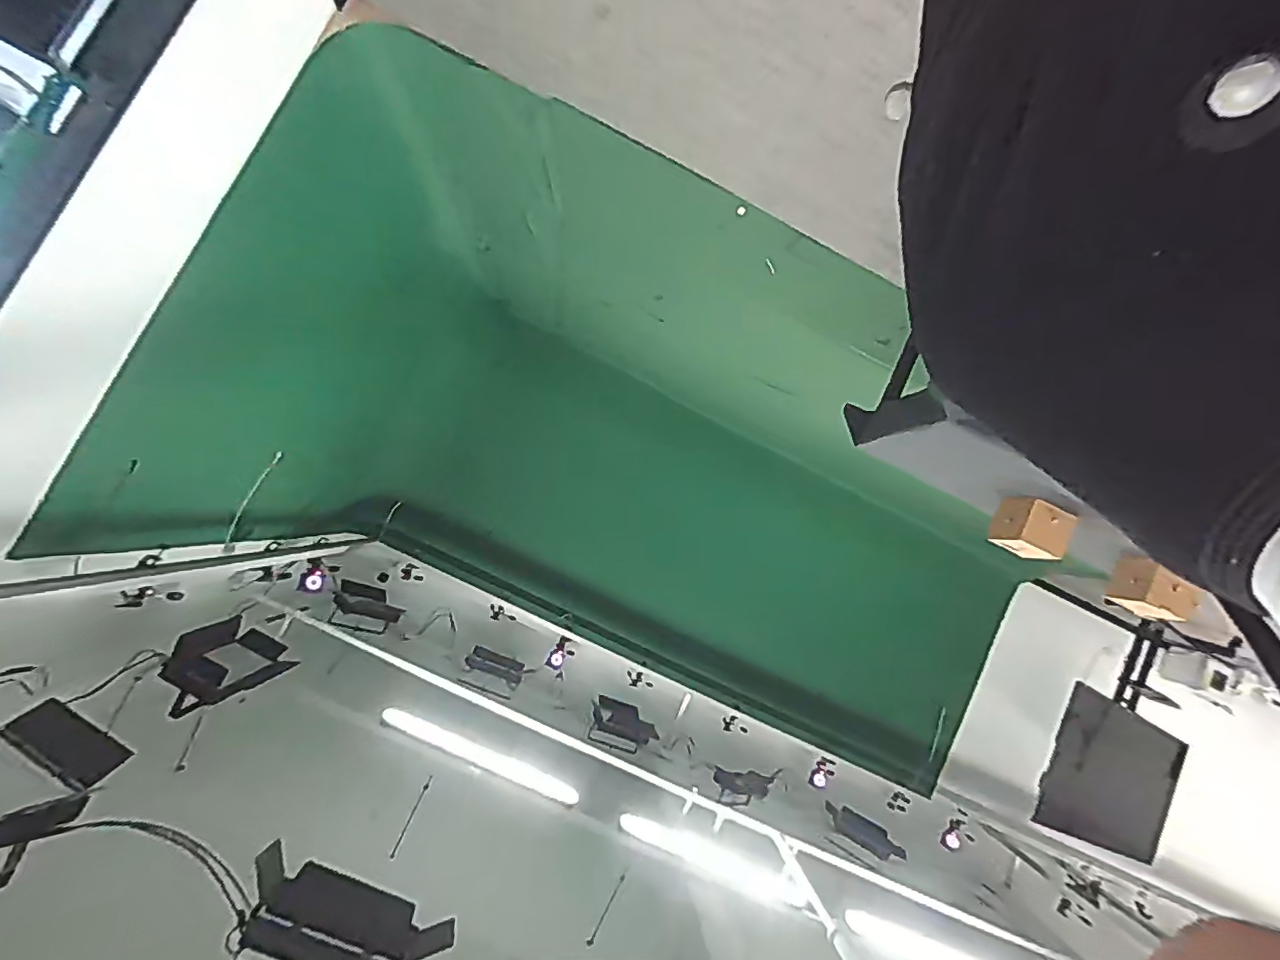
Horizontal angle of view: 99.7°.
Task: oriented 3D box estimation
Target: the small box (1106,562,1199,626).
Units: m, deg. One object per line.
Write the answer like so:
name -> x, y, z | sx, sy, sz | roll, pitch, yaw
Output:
small box -> 1.871, 0.409, 1.969 | 0.168, 0.176, 0.179 | 27, 174, 2

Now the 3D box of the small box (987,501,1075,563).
small box -> 1.424, 0.186, 1.966 | 0.168, 0.176, 0.179 | 26, 173, -1
